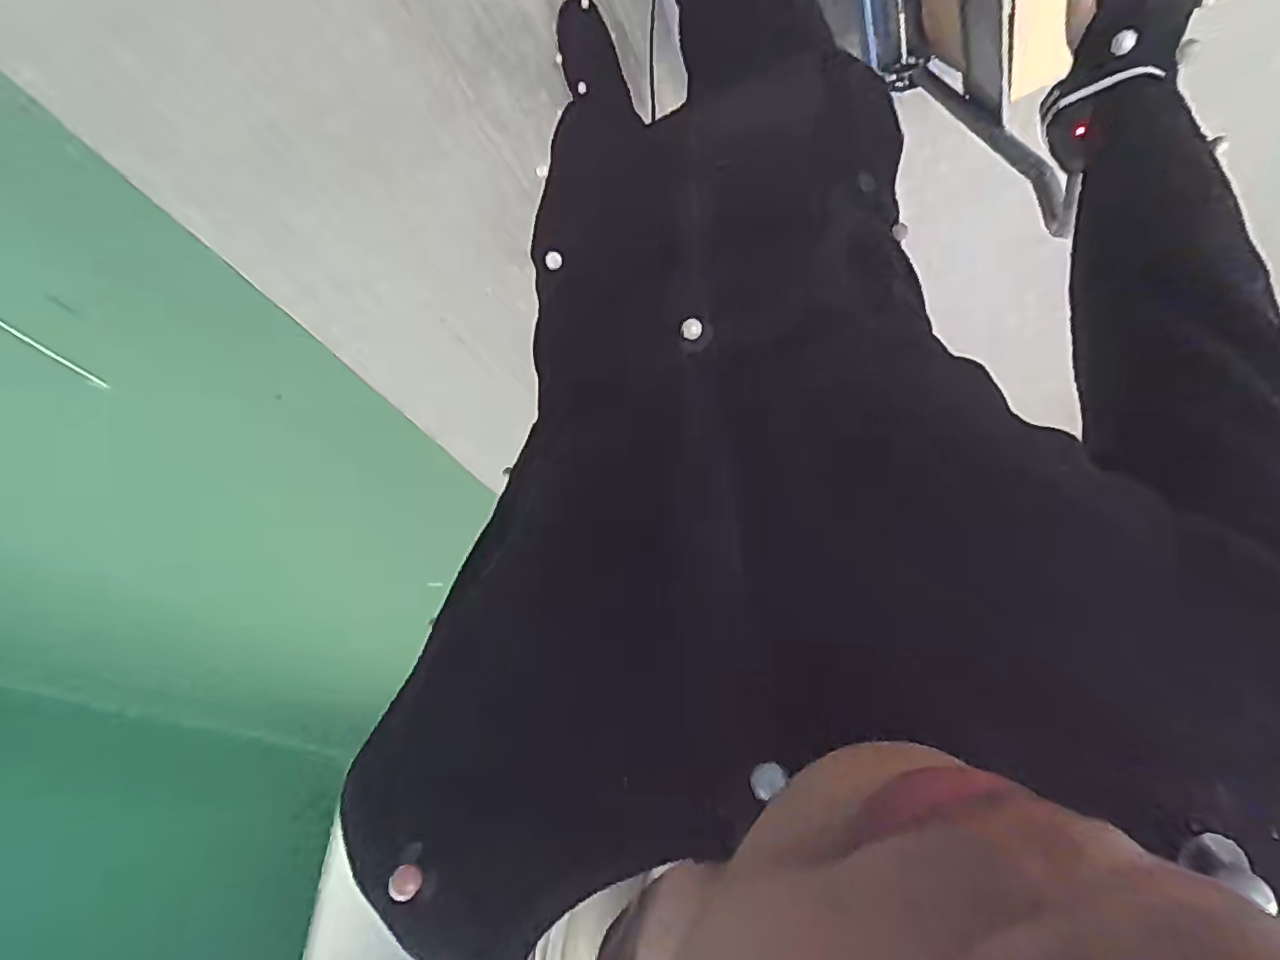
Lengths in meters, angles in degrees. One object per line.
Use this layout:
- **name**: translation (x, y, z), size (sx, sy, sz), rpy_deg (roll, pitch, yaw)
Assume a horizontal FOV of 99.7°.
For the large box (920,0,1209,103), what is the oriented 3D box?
- **large box**: translation (0.675, -0.864, 0.799), size (0.408, 0.320, 0.320), rpy_deg (-22, 138, 16)
